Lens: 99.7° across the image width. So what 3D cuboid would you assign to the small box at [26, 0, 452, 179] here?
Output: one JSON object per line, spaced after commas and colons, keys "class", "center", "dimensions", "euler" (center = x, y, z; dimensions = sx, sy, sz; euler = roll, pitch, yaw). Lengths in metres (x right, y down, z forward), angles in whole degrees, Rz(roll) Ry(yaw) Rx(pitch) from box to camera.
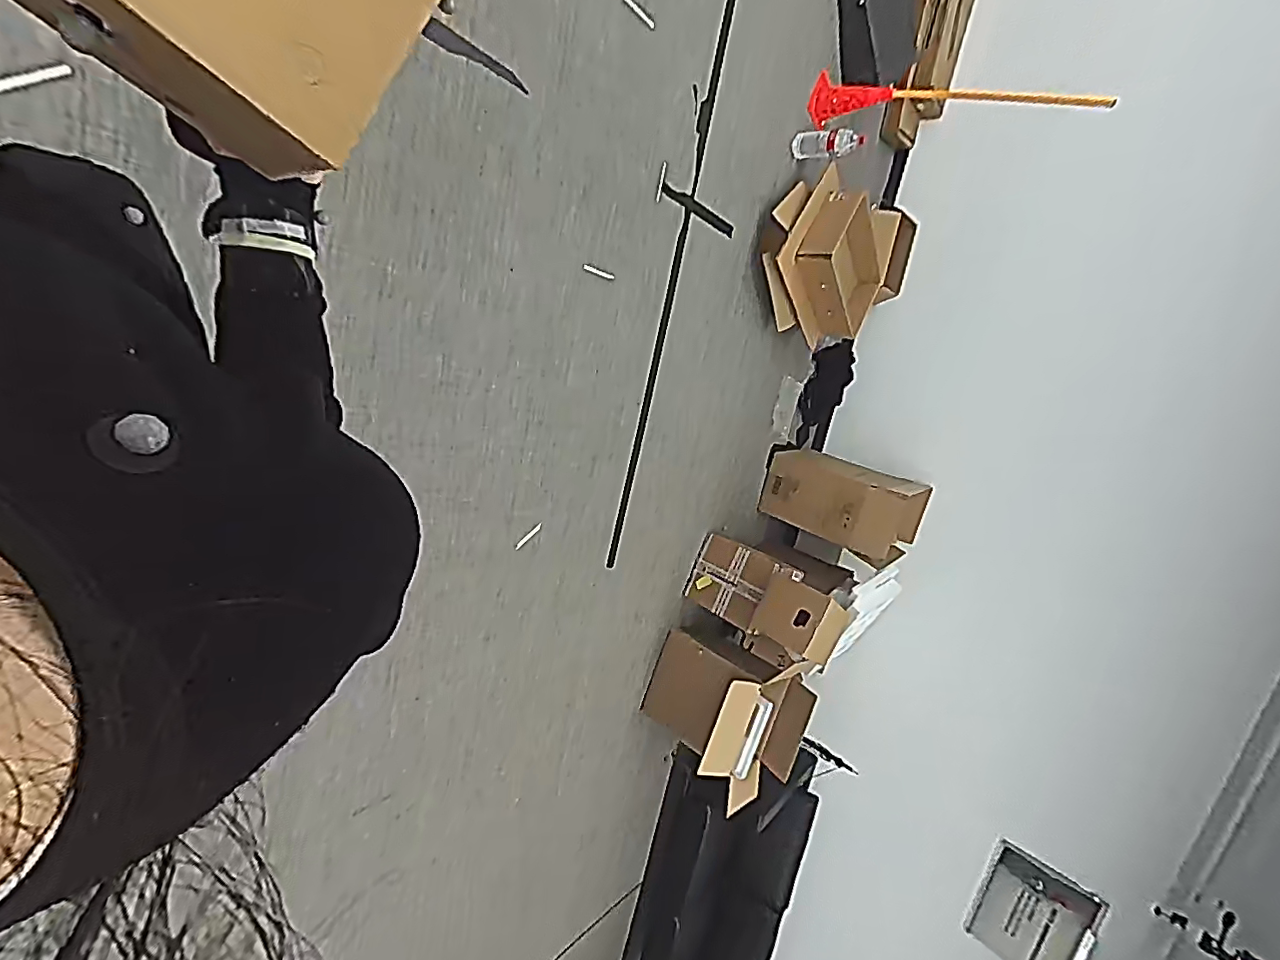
{"class": "small box", "center": [-0.224, -0.300, 0.303], "dimensions": [0.168, 0.176, 0.179], "euler": [29, 85, -49]}
